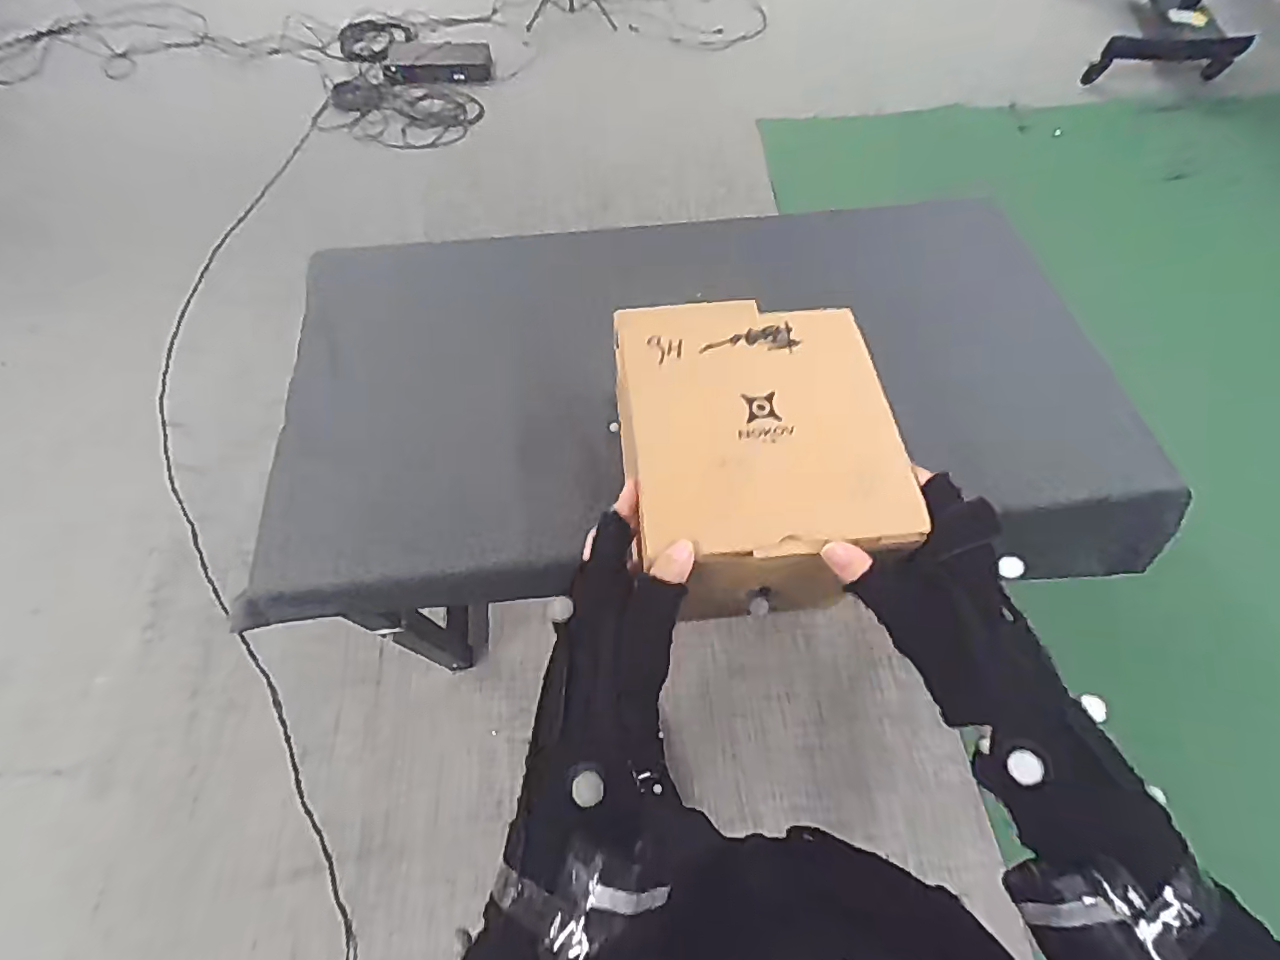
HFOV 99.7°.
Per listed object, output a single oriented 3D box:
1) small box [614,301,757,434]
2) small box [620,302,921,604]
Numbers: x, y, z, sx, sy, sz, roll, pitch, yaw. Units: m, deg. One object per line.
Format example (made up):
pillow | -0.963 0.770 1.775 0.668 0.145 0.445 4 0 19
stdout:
small box | 0.063 -0.101 0.687 0.179 0.176 0.168 -5 63 -4
small box | 0.074 -0.008 0.415 0.168 0.176 0.179 -5 65 -4
